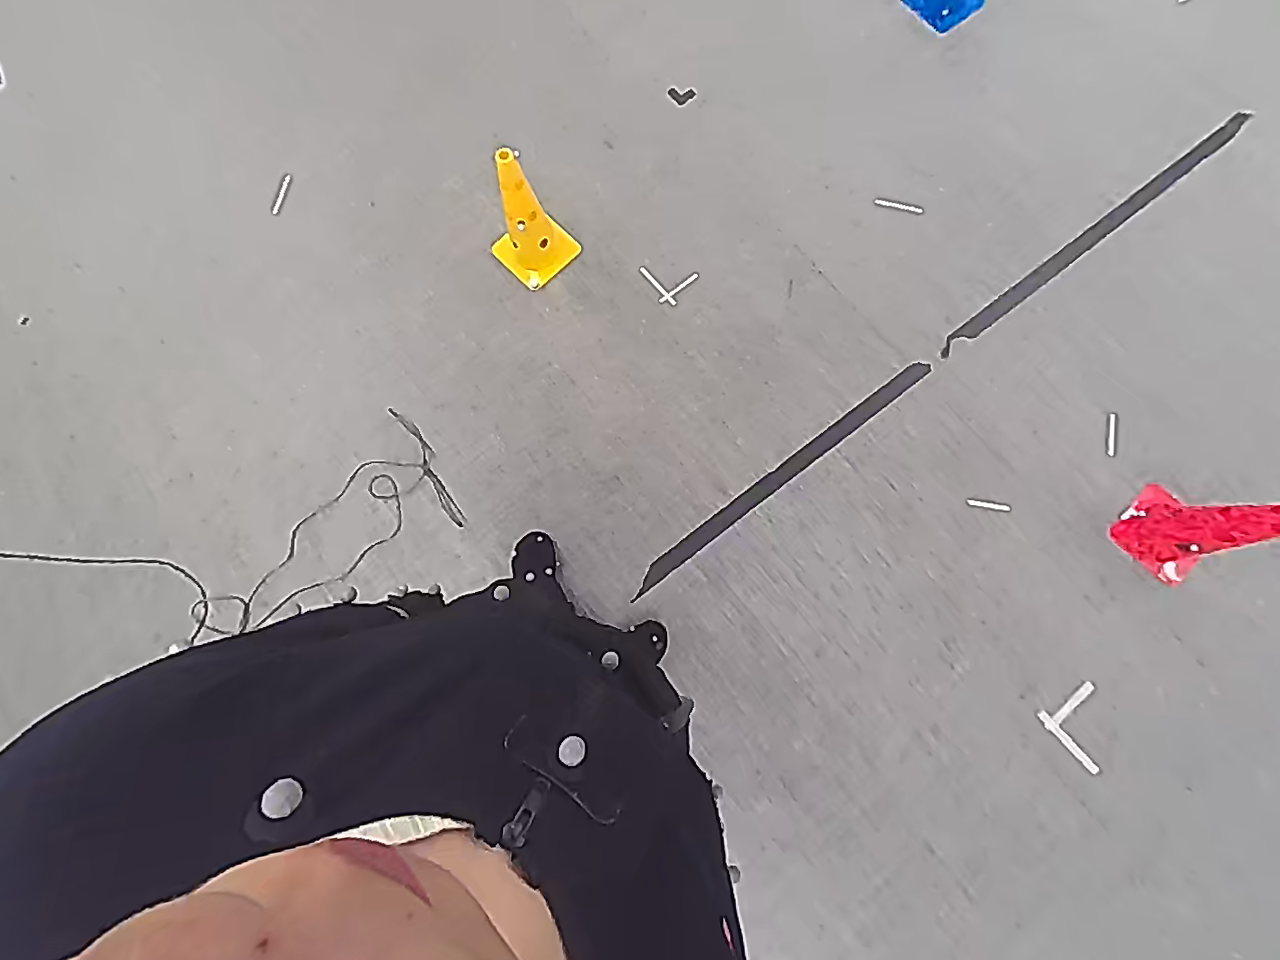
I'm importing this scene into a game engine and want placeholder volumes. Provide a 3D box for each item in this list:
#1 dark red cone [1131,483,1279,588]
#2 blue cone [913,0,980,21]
[{"bbox_3d":[1.326,0.101,1.165,0.201,0.394,0.202,44,83,10],"label":"dark red cone"},{"bbox_3d":[0.960,-1.578,1.549,0.193,0.380,0.192,-36,79,-6],"label":"blue cone"}]
